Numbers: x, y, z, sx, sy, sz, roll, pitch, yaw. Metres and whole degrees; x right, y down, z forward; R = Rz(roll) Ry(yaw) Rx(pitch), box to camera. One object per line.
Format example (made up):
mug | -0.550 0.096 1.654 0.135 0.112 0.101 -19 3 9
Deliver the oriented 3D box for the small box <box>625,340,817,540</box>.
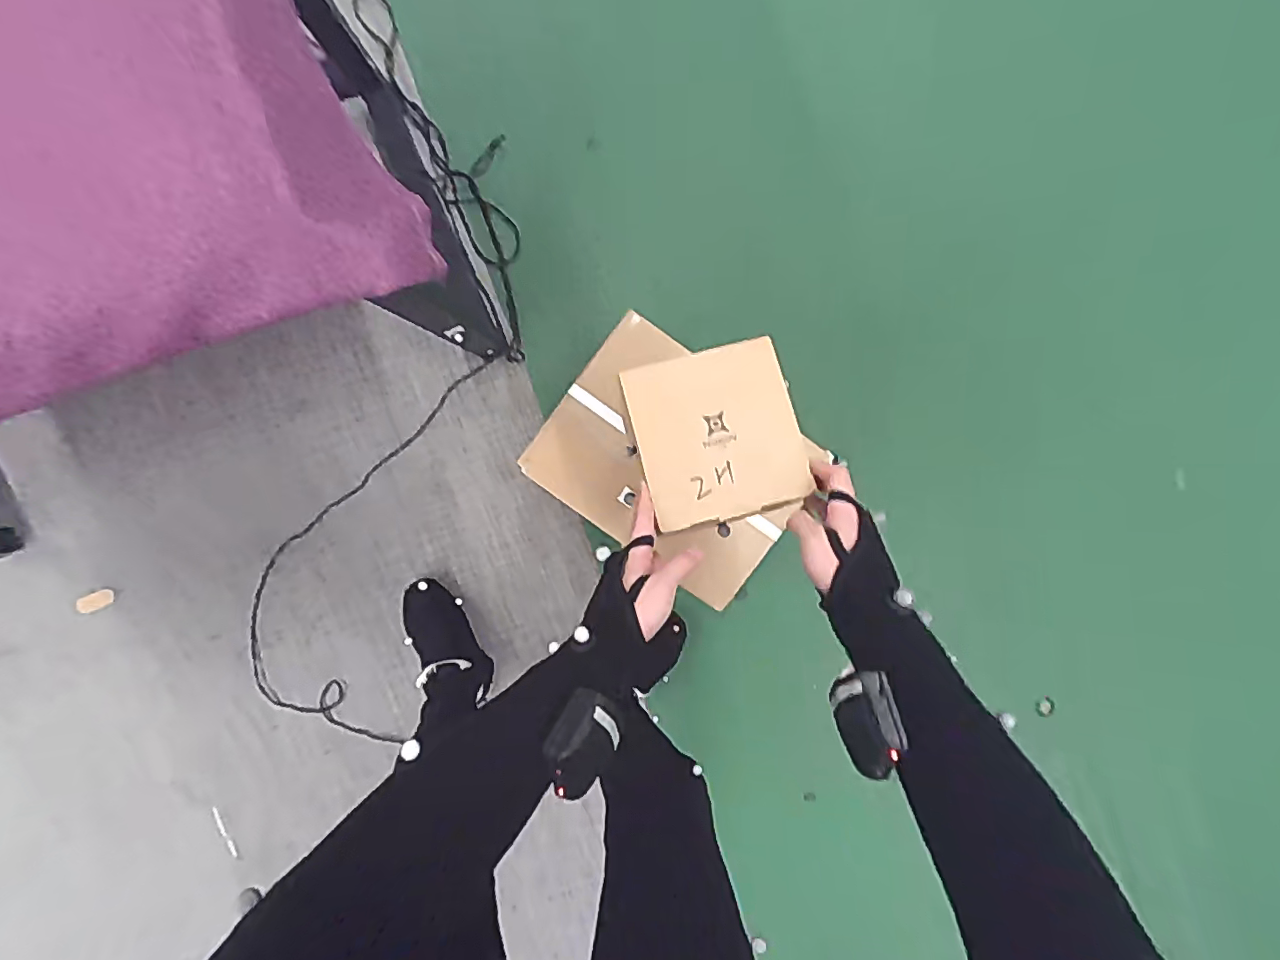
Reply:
small box | 0.078 -0.035 0.627 0.168 0.176 0.179 -13 82 -3
